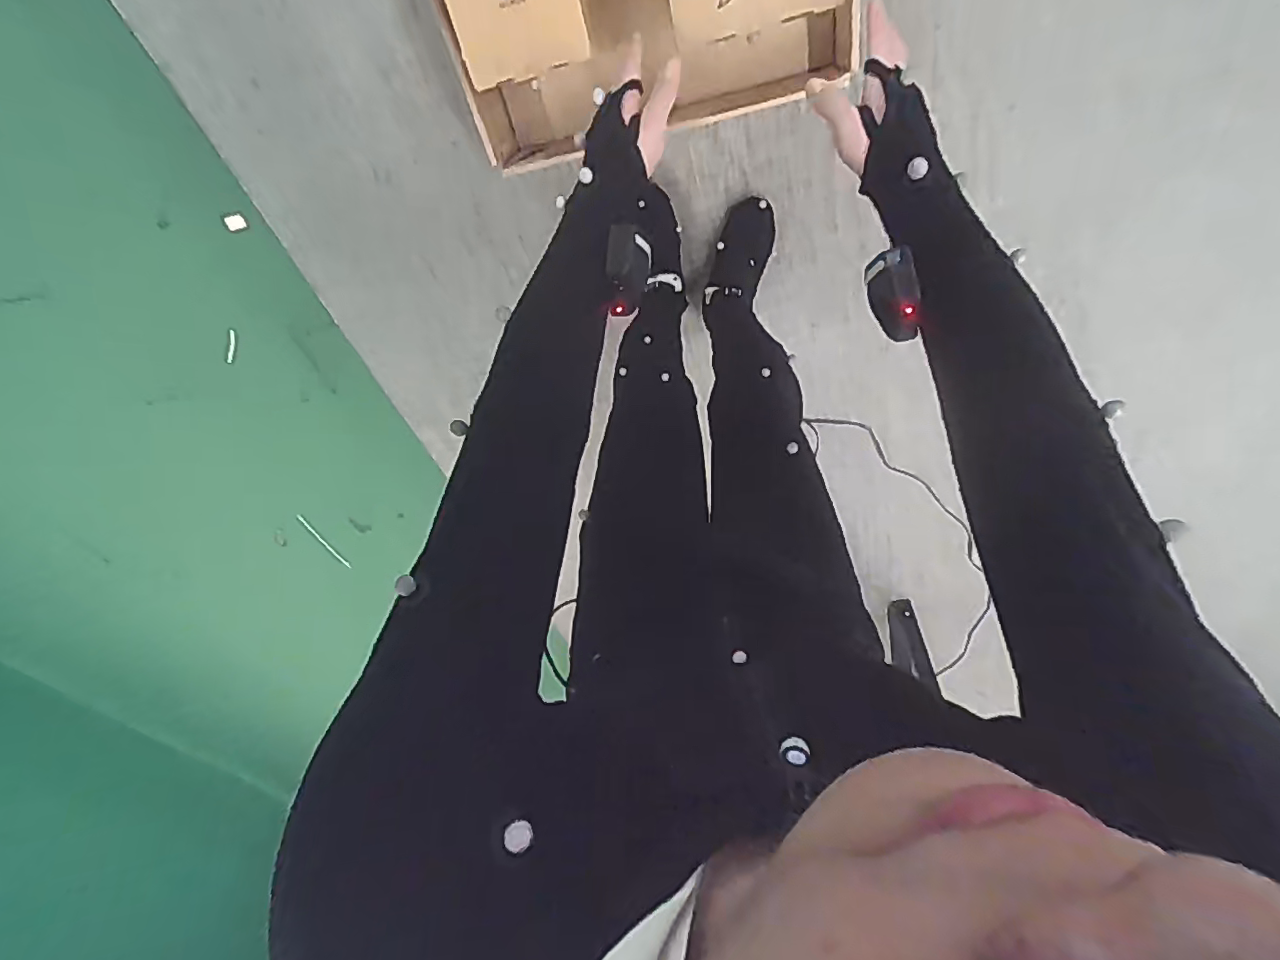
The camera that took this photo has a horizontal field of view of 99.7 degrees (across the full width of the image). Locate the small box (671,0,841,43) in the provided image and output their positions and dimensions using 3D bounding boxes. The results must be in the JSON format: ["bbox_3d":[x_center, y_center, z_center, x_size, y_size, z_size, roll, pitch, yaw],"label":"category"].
[{"bbox_3d":[0.105,-0.560,0.529,0.168,0.176,0.179,-6,131,14],"label":"small box"}]

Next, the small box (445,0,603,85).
[{"bbox_3d":[-0.153,-0.644,0.704,0.168,0.176,0.179,-7,130,11],"label":"small box"}]
